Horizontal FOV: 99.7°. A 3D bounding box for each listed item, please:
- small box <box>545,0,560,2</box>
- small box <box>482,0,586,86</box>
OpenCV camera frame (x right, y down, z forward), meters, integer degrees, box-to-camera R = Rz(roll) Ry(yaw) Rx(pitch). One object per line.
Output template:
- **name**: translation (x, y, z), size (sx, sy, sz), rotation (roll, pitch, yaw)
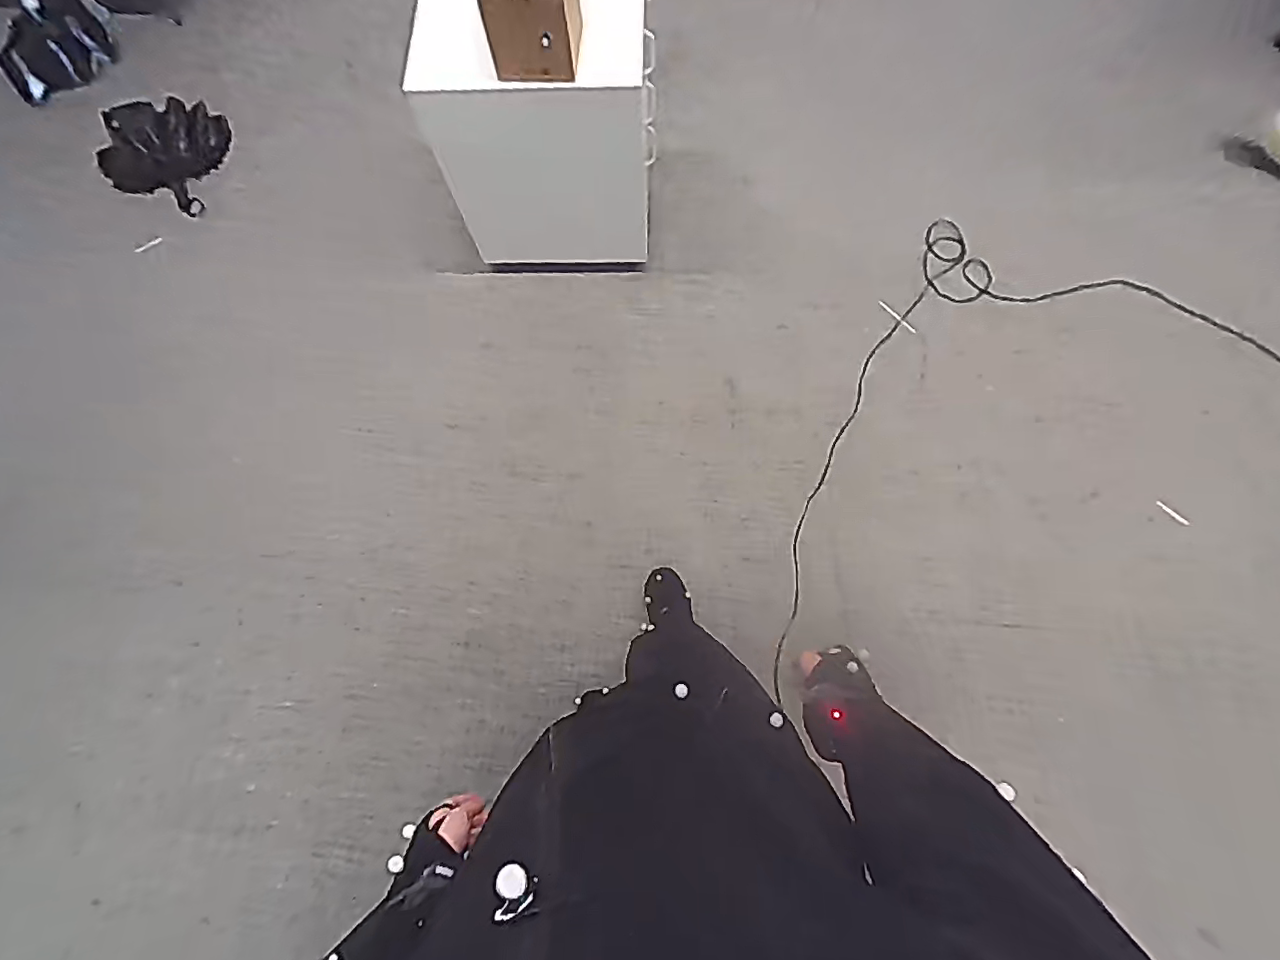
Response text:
- **small box**: translation (-0.205, -0.982, 0.932), size (0.168, 0.176, 0.179), rotation (4, 74, 2)
- **small box**: translation (-0.203, -0.934, 1.089), size (0.168, 0.176, 0.179), rotation (3, 72, 2)
